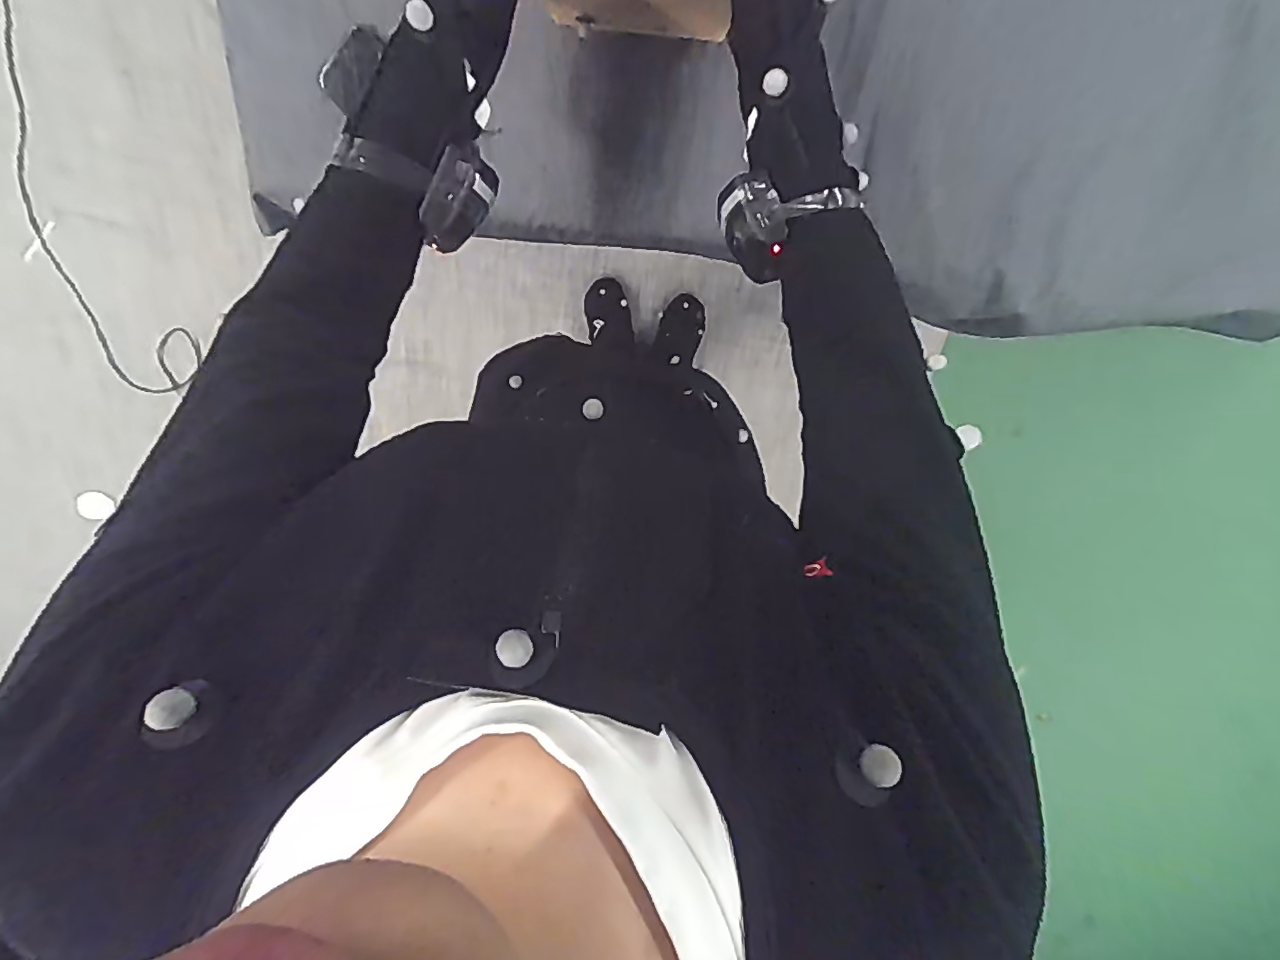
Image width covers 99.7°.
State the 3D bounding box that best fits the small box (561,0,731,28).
[{"bbox_3d":[0.005,-0.482,0.413,0.168,0.176,0.179,5,115,-1],"label":"small box"}]
